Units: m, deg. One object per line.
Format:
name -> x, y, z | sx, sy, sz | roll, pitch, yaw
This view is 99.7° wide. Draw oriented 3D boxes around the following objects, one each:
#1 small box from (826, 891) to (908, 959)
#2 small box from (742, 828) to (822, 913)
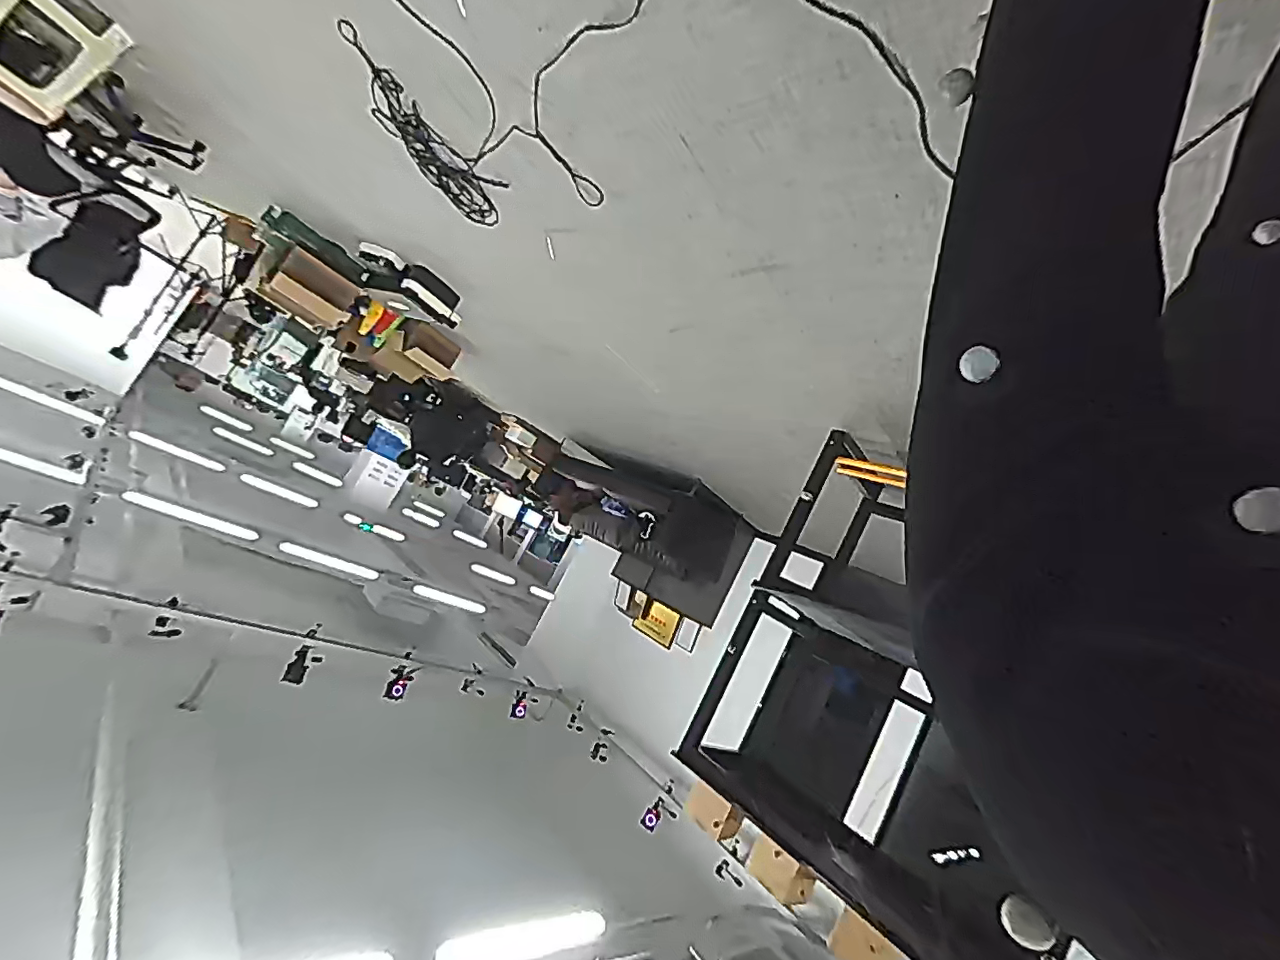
small box -> 0.689, 1.392, 1.634 | 0.168, 0.176, 0.179 | 22, 170, 38
small box -> 0.486, 1.317, 1.833 | 0.179, 0.176, 0.168 | 35, 169, -38
